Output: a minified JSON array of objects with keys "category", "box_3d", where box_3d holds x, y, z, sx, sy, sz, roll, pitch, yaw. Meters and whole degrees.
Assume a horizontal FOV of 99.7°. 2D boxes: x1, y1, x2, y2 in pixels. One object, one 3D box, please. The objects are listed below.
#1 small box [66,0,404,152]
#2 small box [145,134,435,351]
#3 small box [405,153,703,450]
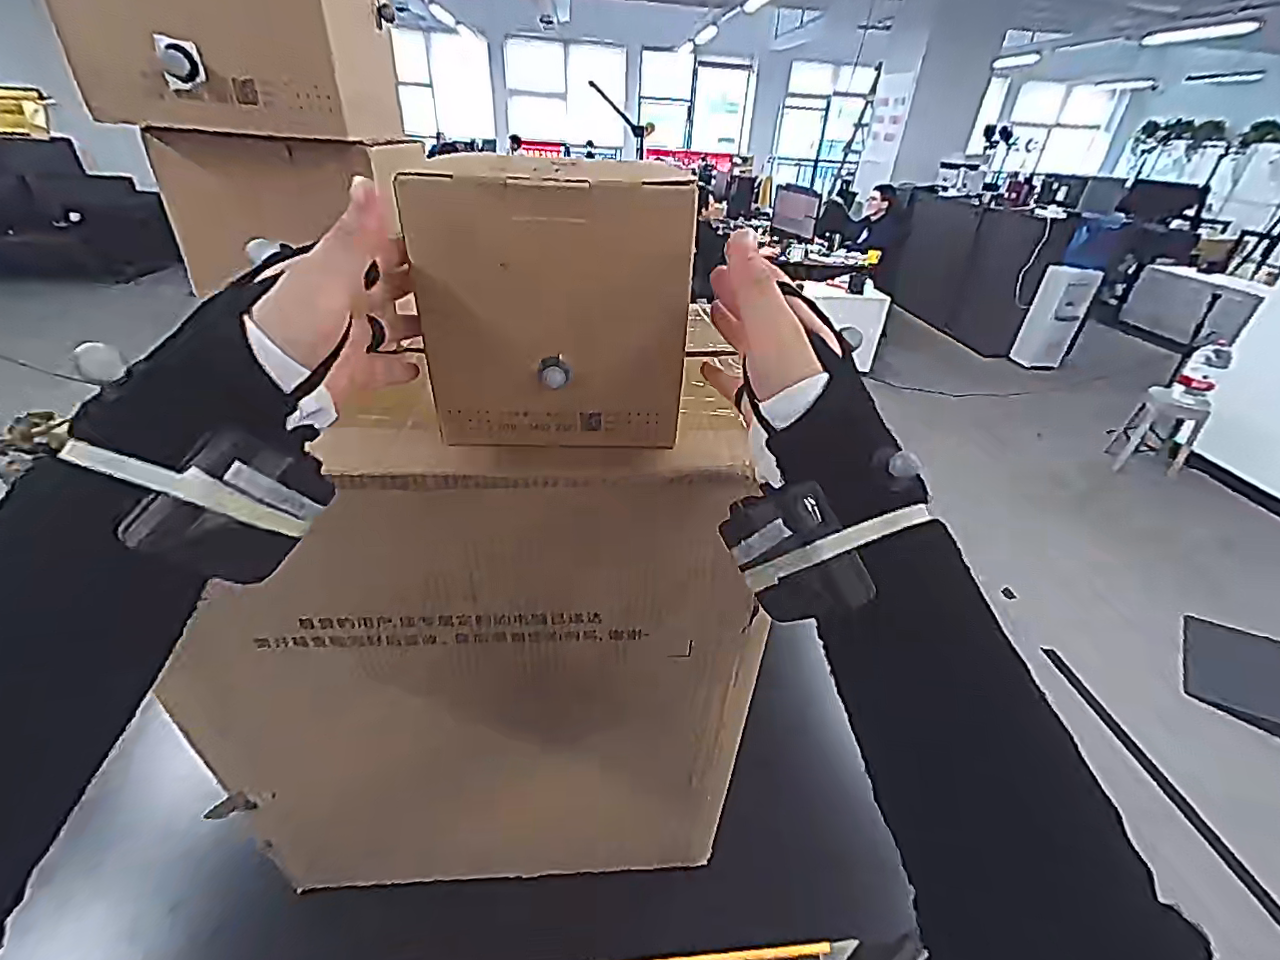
[{"category":"small box","box_3d":[-0.287,-0.350,0.401,0.168,0.176,0.179,-2,34,-8]},{"category":"small box","box_3d":[-0.297,-0.231,0.518,0.168,0.176,0.179,1,33,-6]},{"category":"small box","box_3d":[-0.052,-0.138,0.404,0.168,0.176,0.179,0,34,-3]}]
